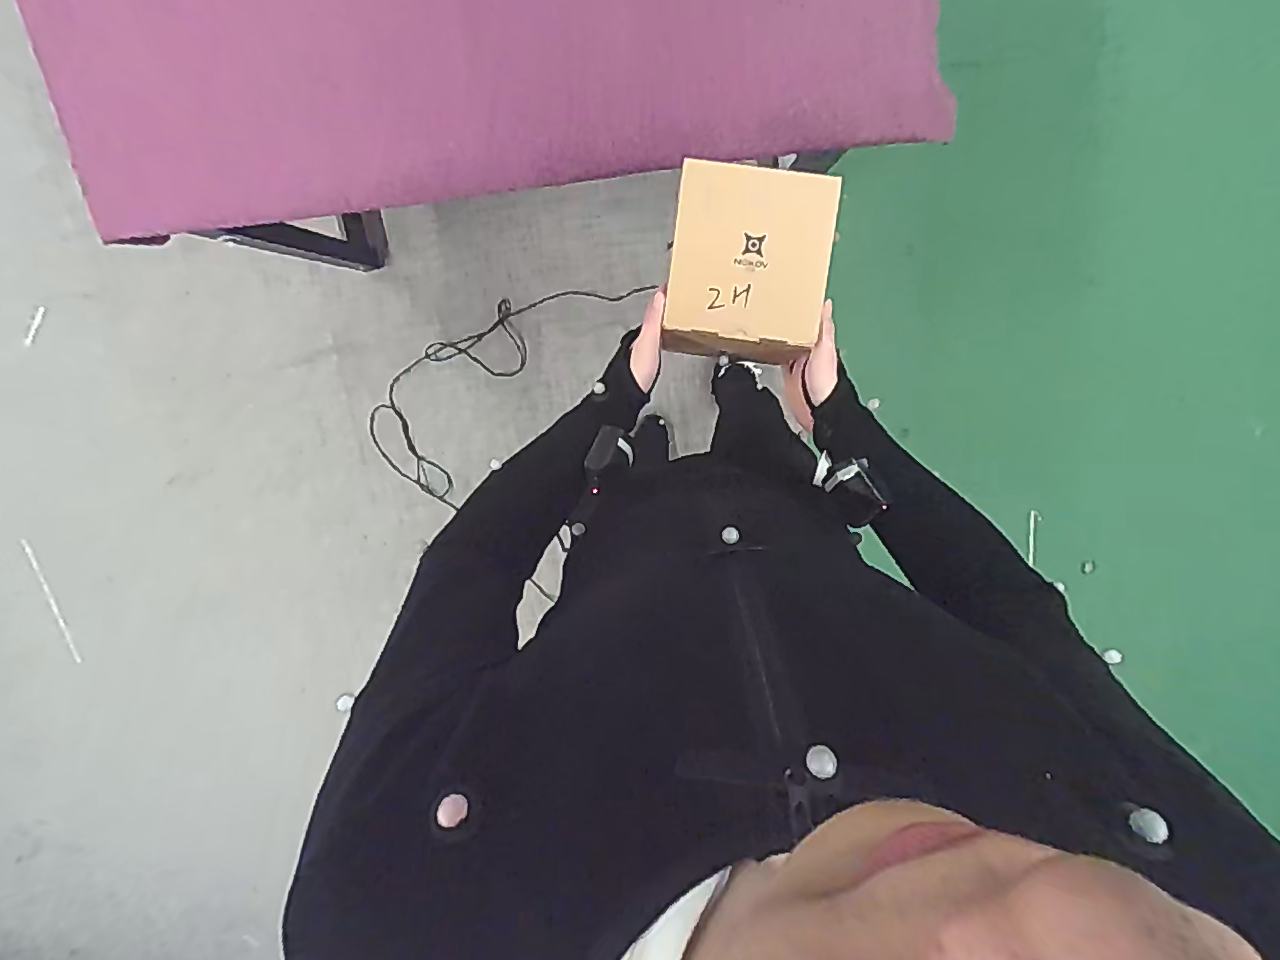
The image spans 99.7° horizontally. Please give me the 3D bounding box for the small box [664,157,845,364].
[{"bbox_3d":[0.121,-0.245,0.645,0.168,0.176,0.179,8,96,0],"label":"small box"}]
